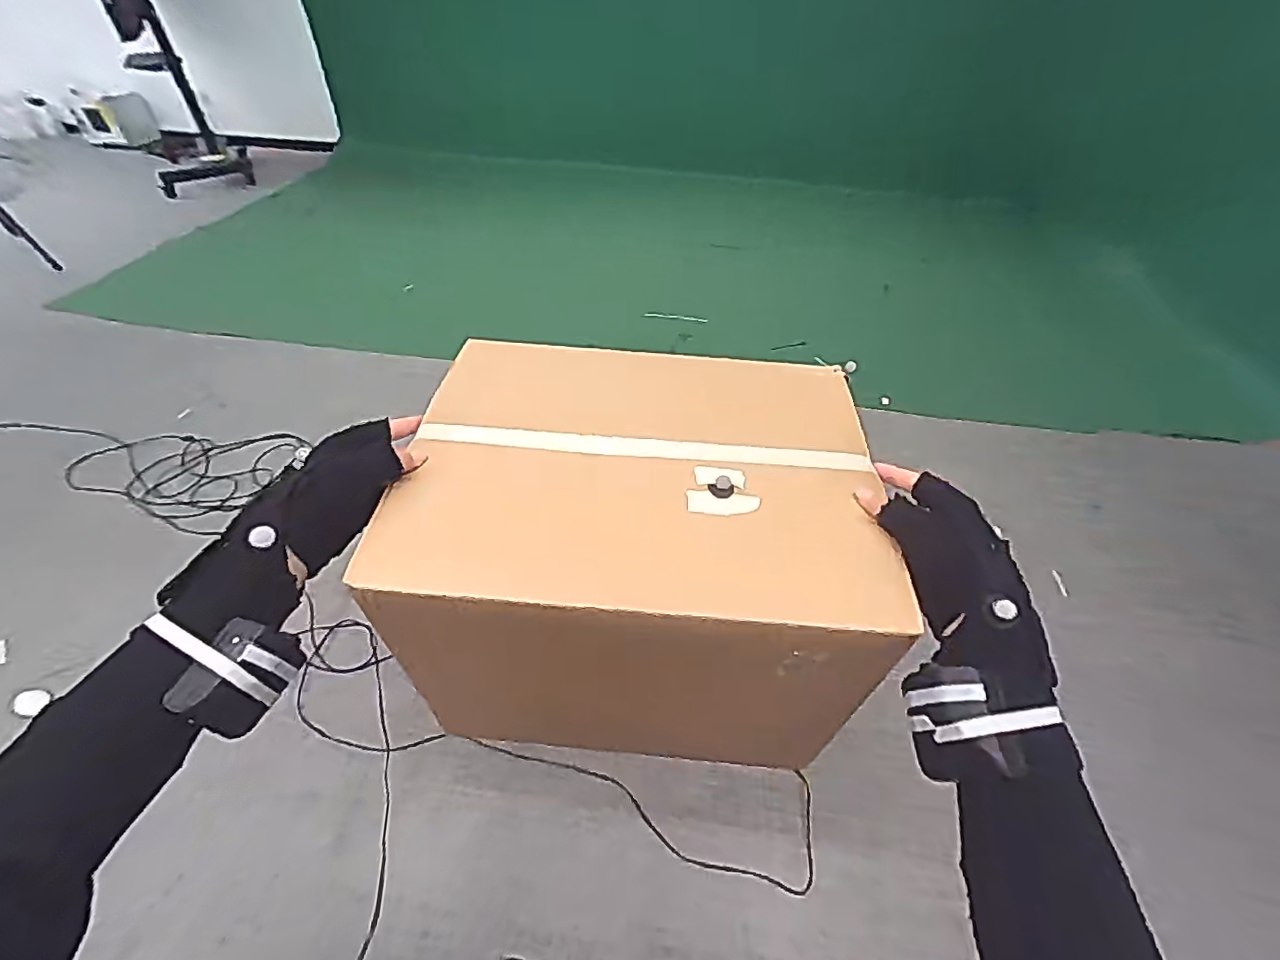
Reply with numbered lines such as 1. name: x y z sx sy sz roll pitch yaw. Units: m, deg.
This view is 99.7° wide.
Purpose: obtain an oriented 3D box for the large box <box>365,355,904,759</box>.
1. large box: -0.005 0.087 0.599 0.408 0.320 0.320 5 46 1
